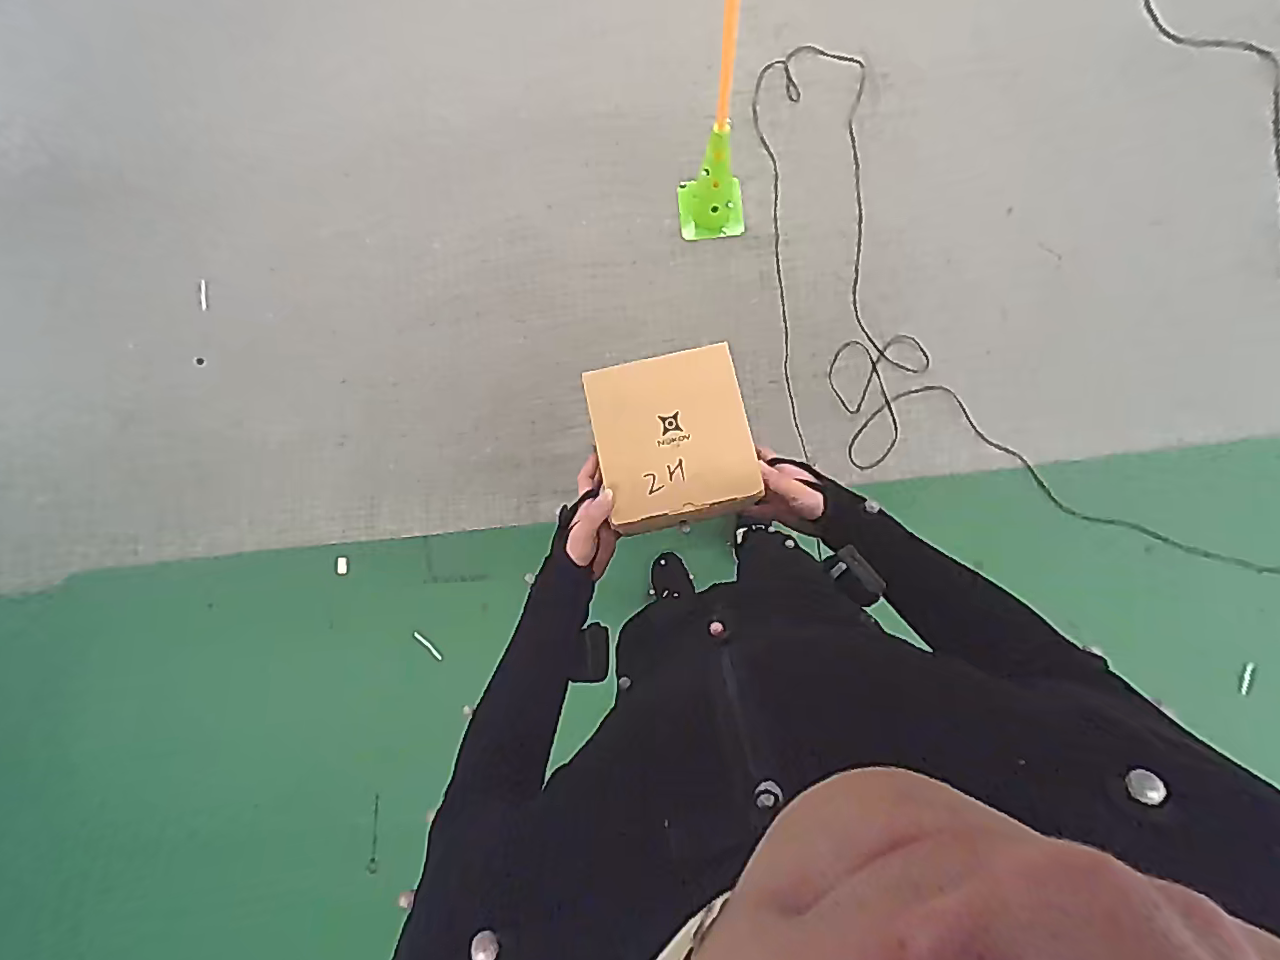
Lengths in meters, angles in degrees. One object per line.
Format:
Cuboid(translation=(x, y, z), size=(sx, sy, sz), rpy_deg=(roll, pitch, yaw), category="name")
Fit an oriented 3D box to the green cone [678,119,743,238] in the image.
Cuboid(translation=(0.223, -0.897, 1.574), size=(0.202, 0.368, 0.200), rpy_deg=(-5, 85, 1), category="green cone")
